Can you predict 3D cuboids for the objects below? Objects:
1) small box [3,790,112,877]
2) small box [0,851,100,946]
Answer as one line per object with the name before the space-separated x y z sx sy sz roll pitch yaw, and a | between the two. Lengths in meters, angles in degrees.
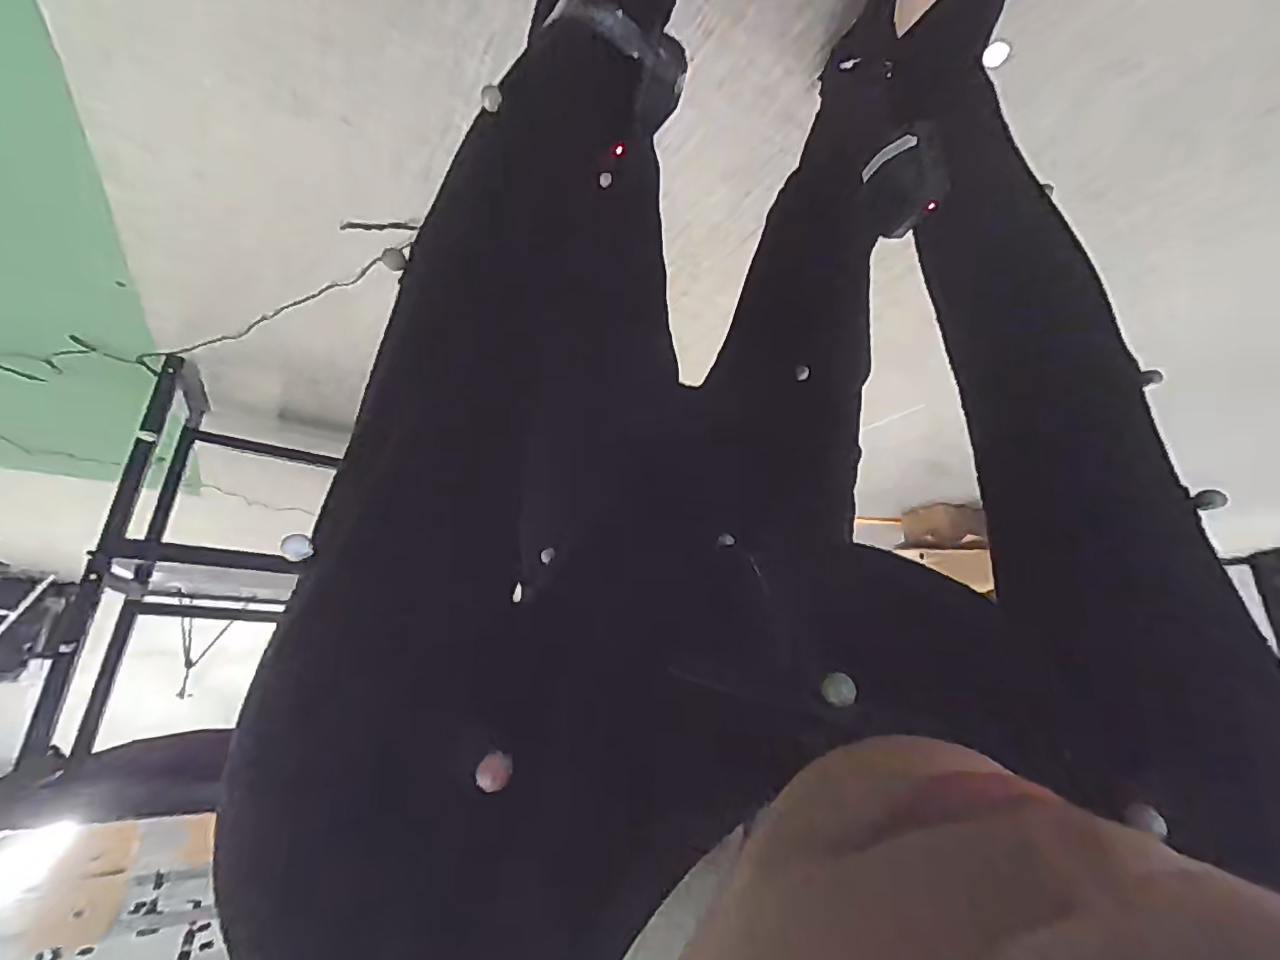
small box | -1.698 1.028 1.592 0.179 0.176 0.168 16 158 -34
small box | -1.704 1.183 1.541 0.179 0.176 0.168 11 160 -29
